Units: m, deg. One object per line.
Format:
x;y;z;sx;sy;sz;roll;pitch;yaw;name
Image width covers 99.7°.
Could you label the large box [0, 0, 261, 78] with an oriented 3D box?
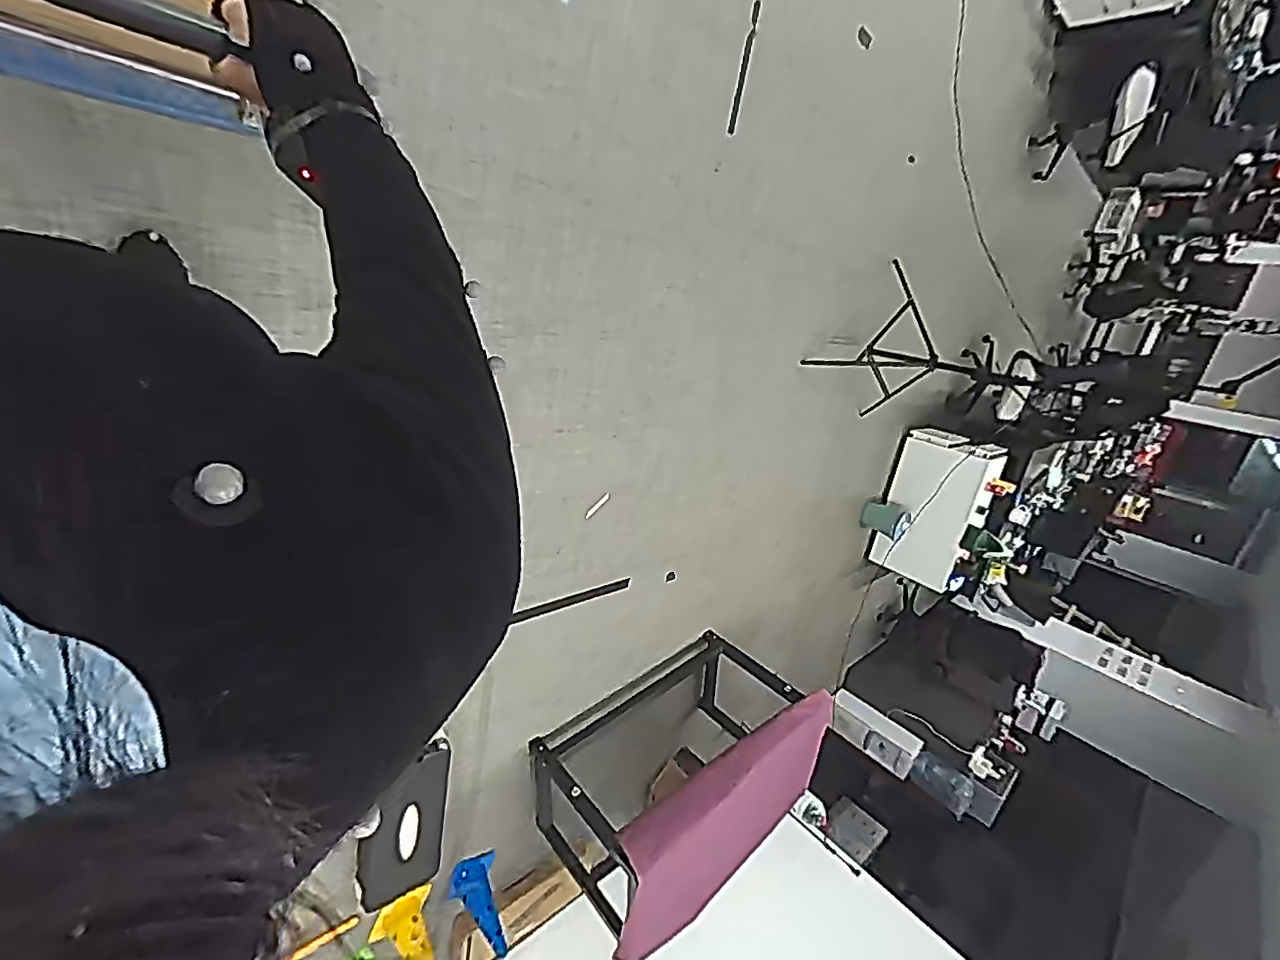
-0.745;-0.764;0.660;0.408;0.320;0.320;-9;116;-43;large box
